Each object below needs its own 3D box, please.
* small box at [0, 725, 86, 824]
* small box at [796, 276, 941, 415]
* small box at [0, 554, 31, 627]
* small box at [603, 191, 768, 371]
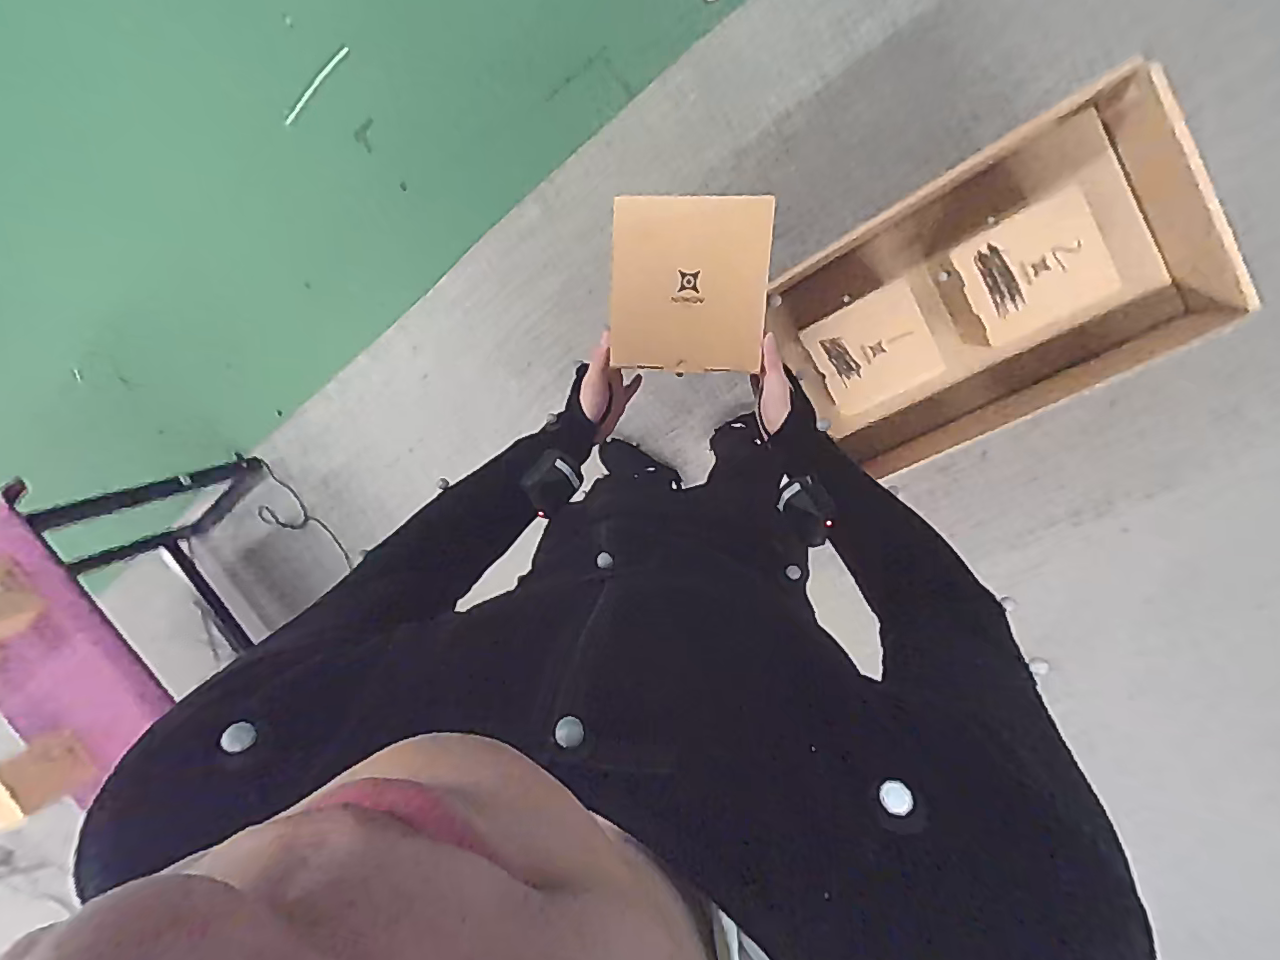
[{"bbox_3d":[-1.690,0.807,1.481,0.179,0.176,0.168,-28,96,20],"label":"small box"},{"bbox_3d":[0.388,-0.232,0.948,0.179,0.176,0.168,-27,98,19],"label":"small box"},{"bbox_3d":[-1.675,0.298,1.327,0.179,0.176,0.168,-31,97,22],"label":"small box"},{"bbox_3d":[0.053,-0.226,0.642,0.168,0.176,0.179,3,106,7],"label":"small box"}]
